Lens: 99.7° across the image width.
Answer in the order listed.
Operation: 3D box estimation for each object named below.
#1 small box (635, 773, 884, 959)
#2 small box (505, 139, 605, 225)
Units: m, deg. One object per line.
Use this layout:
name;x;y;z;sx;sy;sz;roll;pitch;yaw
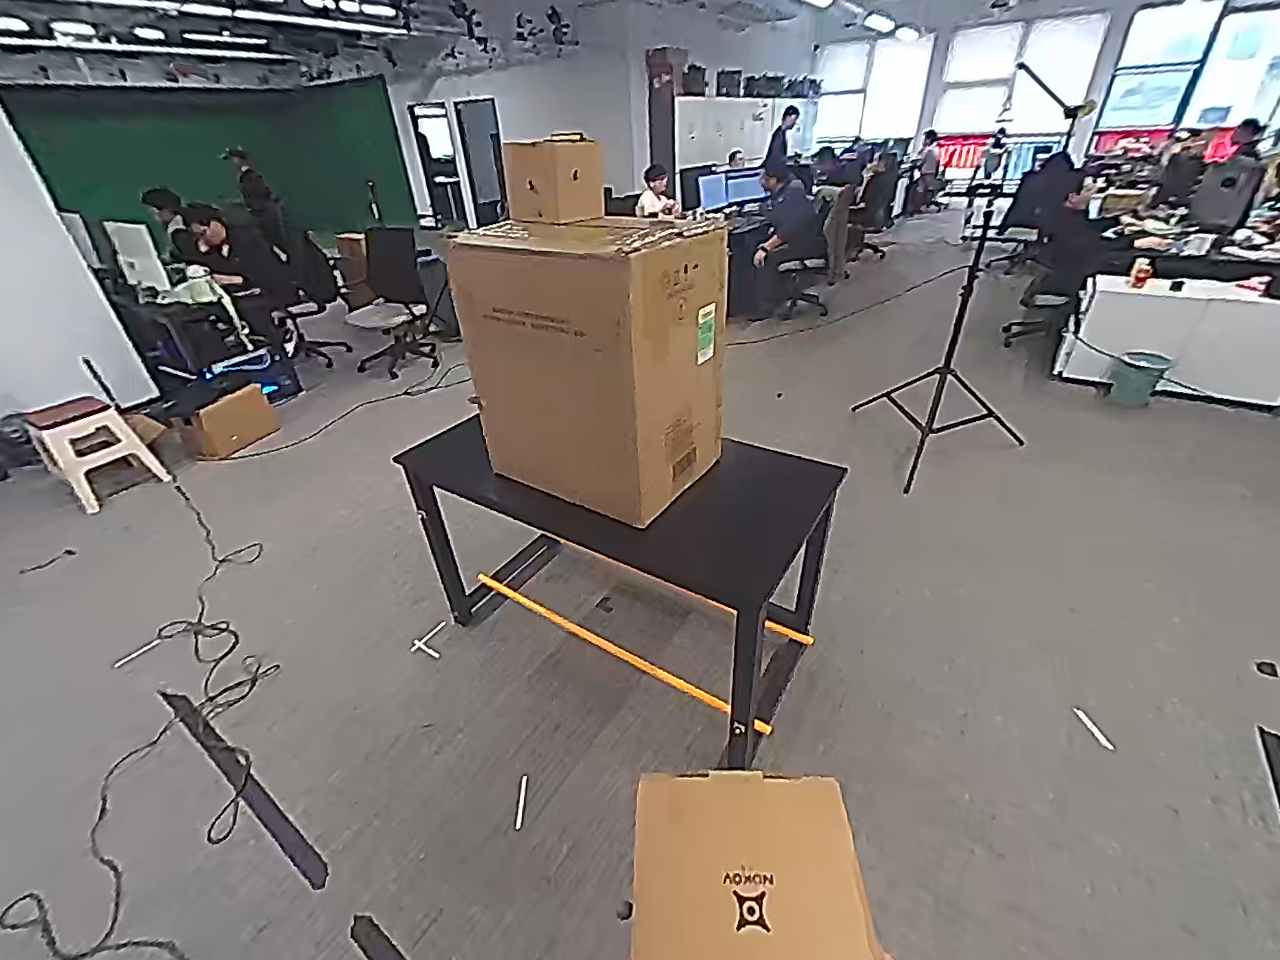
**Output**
small box;0.080;0.360;0.424;0.168;0.176;0.179;0;38;2
small box;-0.197;-0.720;1.307;0.168;0.176;0.179;19;37;28
